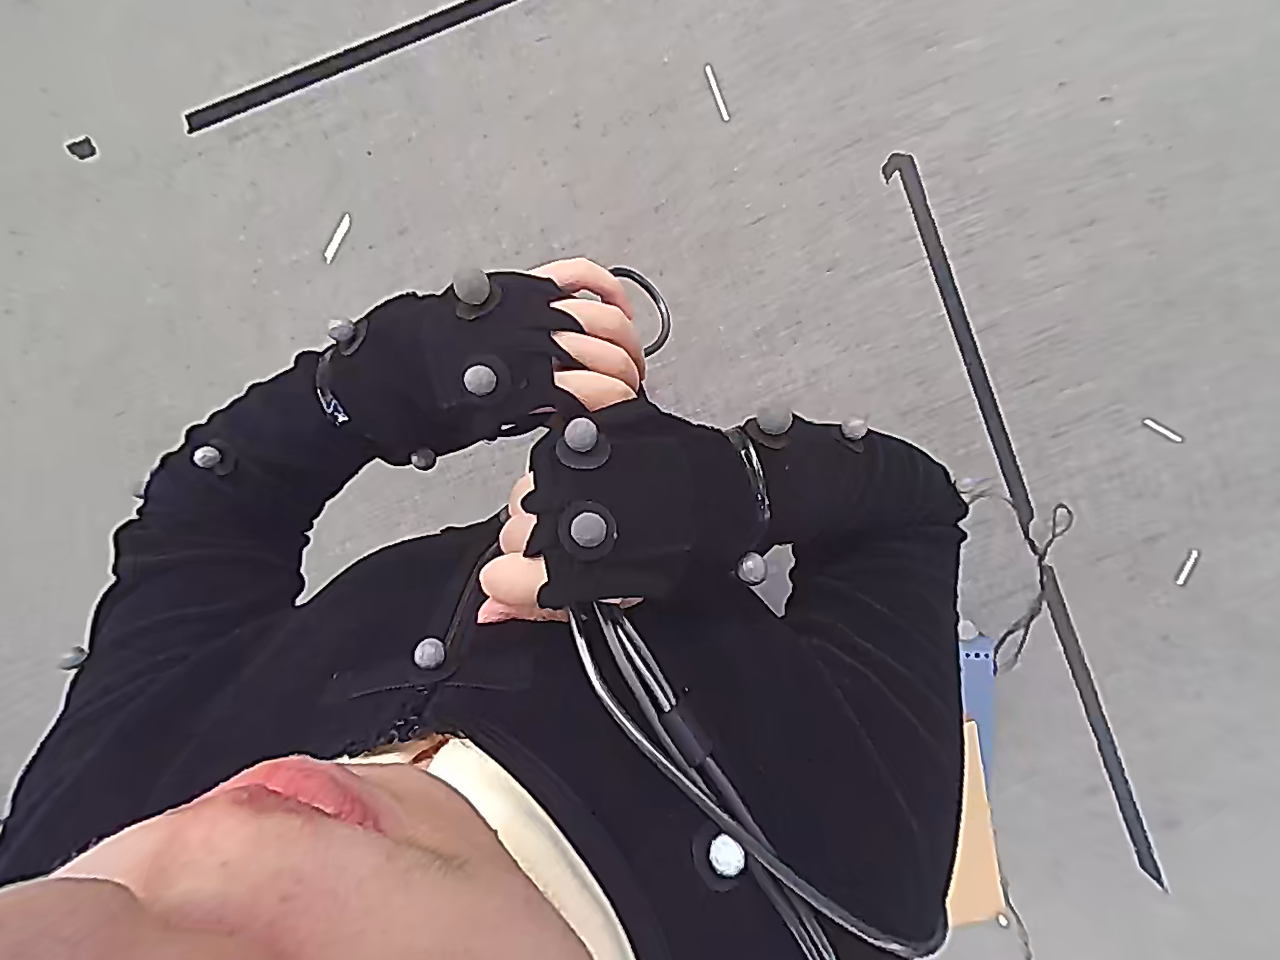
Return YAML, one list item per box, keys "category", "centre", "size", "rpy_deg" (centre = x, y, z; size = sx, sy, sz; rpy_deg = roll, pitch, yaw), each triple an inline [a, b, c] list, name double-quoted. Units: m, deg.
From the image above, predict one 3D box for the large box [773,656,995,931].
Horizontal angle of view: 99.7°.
- category: "large box"
  centre: [0.517, 0.664, 1.209]
  size: [0.320, 0.320, 0.408]
  rpy_deg: [-10, 94, 0]
